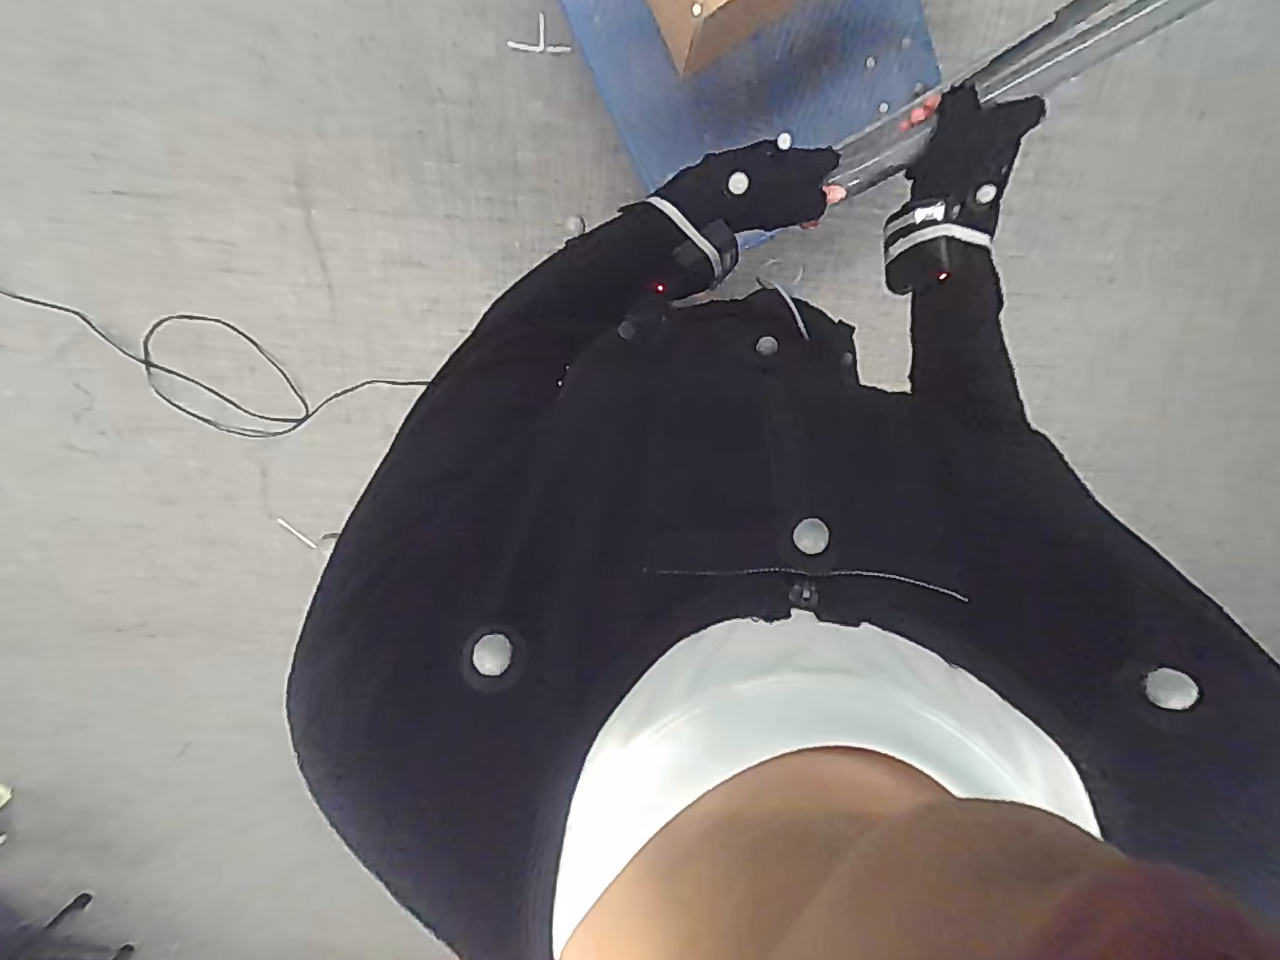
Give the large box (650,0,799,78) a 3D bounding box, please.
[{"bbox_3d":[0.183,-0.917,0.809,0.408,0.320,0.320,-29,110,13],"label":"large box"}]
